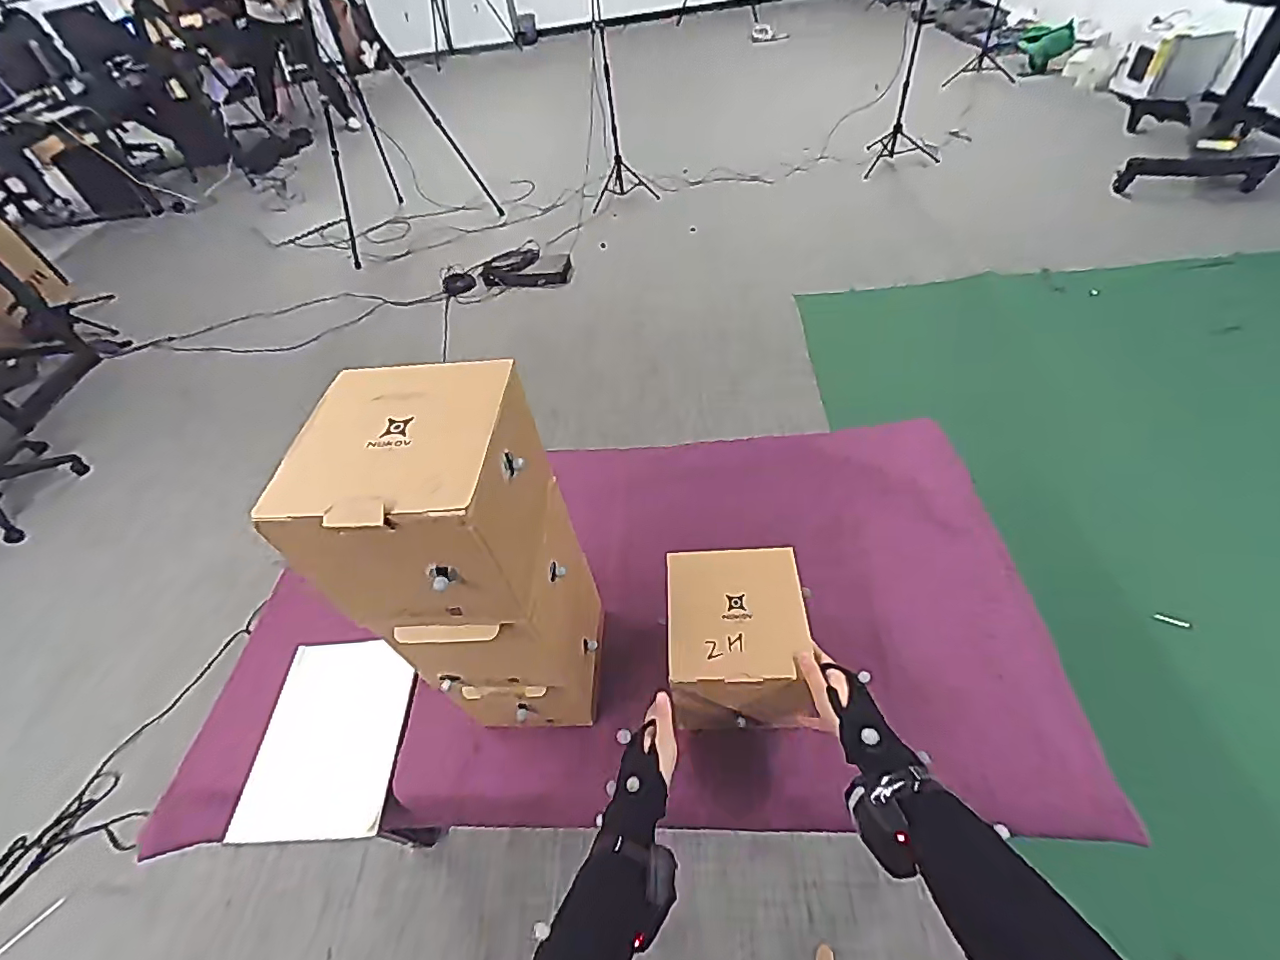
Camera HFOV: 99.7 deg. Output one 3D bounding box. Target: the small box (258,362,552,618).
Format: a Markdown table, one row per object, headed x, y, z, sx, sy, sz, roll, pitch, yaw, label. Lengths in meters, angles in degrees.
| x | y | z | sx | sy | sz | roll | pitch | yaw | label |
| --- | --- | --- | --- | --- | --- | --- | --- | --- | --- |
| -0.186 | 0.015 | 0.498 | 0.168 | 0.176 | 0.179 | -2 | 48 | 6 | small box |

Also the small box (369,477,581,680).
| x | y | z | sx | sy | sz | roll | pitch | yaw | label |
| --- | --- | --- | --- | --- | --- | --- | --- | --- | --- |
| -0.168 | 0.118 | 0.623 | 0.168 | 0.176 | 0.179 | -3 | 48 | 6 | small box |

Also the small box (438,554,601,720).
| x | y | z | sx | sy | sz | roll | pitch | yaw | label |
| --- | --- | --- | --- | --- | --- | --- | --- | --- | --- |
| -0.151 | 0.222 | 0.750 | 0.168 | 0.176 | 0.179 | -3 | 49 | 6 | small box |
